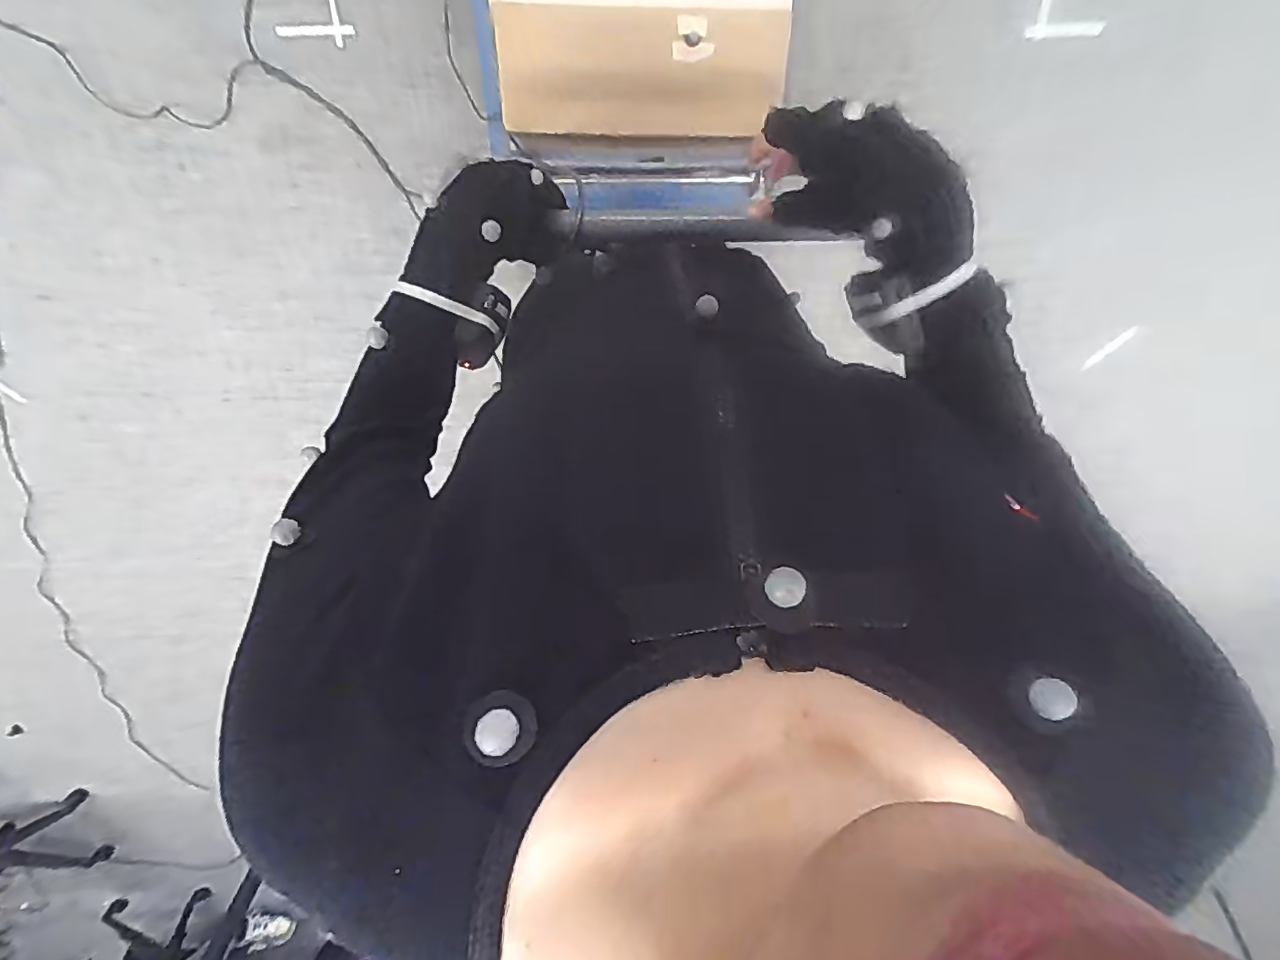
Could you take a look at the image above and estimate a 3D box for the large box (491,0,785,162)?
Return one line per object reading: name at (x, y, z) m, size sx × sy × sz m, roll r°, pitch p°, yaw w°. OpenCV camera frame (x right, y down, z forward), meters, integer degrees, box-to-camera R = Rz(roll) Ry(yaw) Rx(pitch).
large box at (-0.013, -0.697, 0.857) m, size 0.408 × 0.320 × 0.320 m, roll -2°, pitch 117°, yaw -5°
